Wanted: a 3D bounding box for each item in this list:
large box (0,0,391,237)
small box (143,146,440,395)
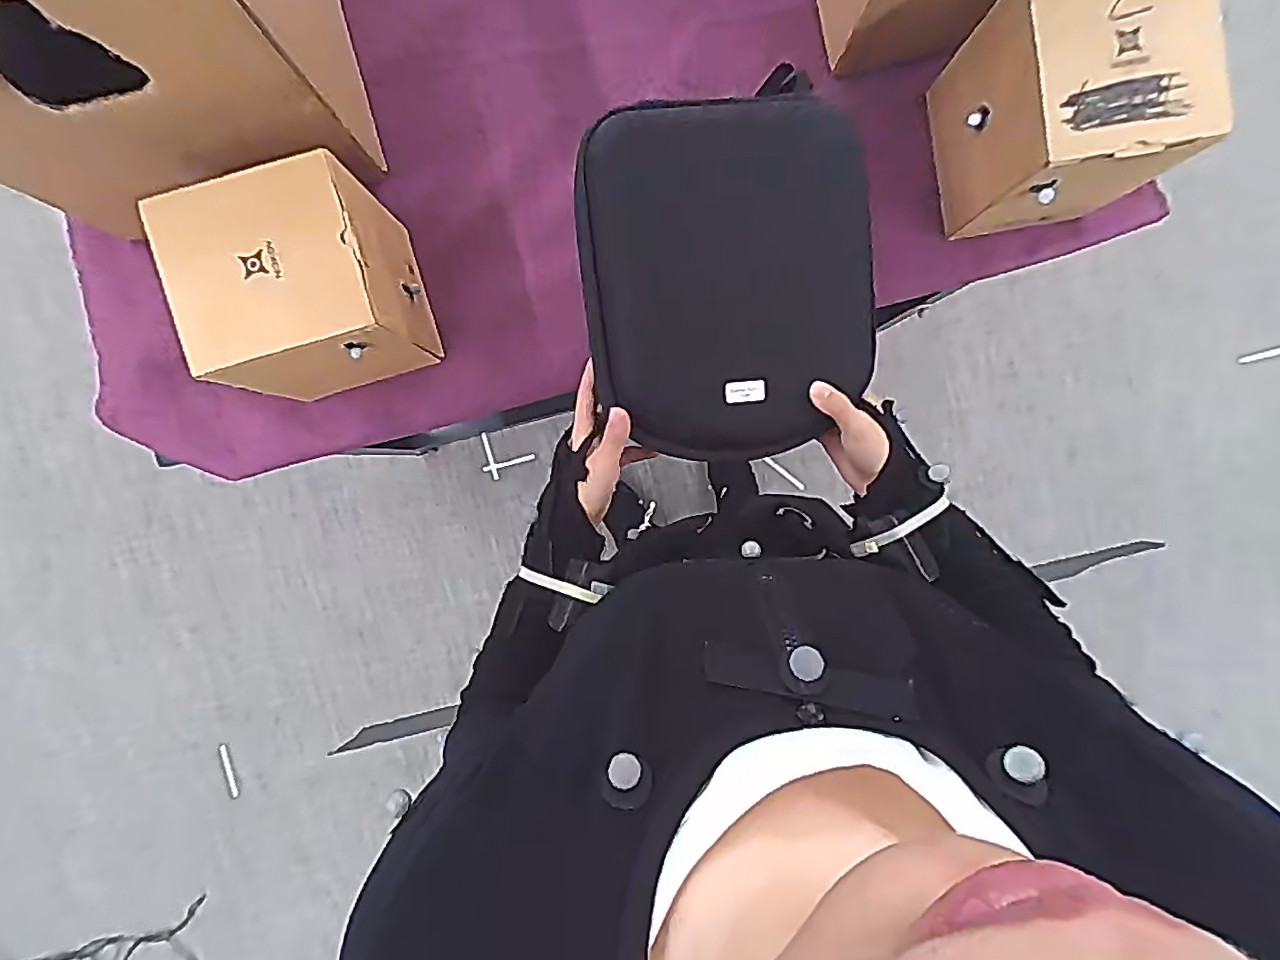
[{"bbox_3d":[-0.484,-0.503,0.479,0.320,0.320,0.408,-16,95,-1],"label":"large box"},{"bbox_3d":[-0.340,-0.197,0.563,0.179,0.176,0.168,-17,91,0],"label":"small box"}]
